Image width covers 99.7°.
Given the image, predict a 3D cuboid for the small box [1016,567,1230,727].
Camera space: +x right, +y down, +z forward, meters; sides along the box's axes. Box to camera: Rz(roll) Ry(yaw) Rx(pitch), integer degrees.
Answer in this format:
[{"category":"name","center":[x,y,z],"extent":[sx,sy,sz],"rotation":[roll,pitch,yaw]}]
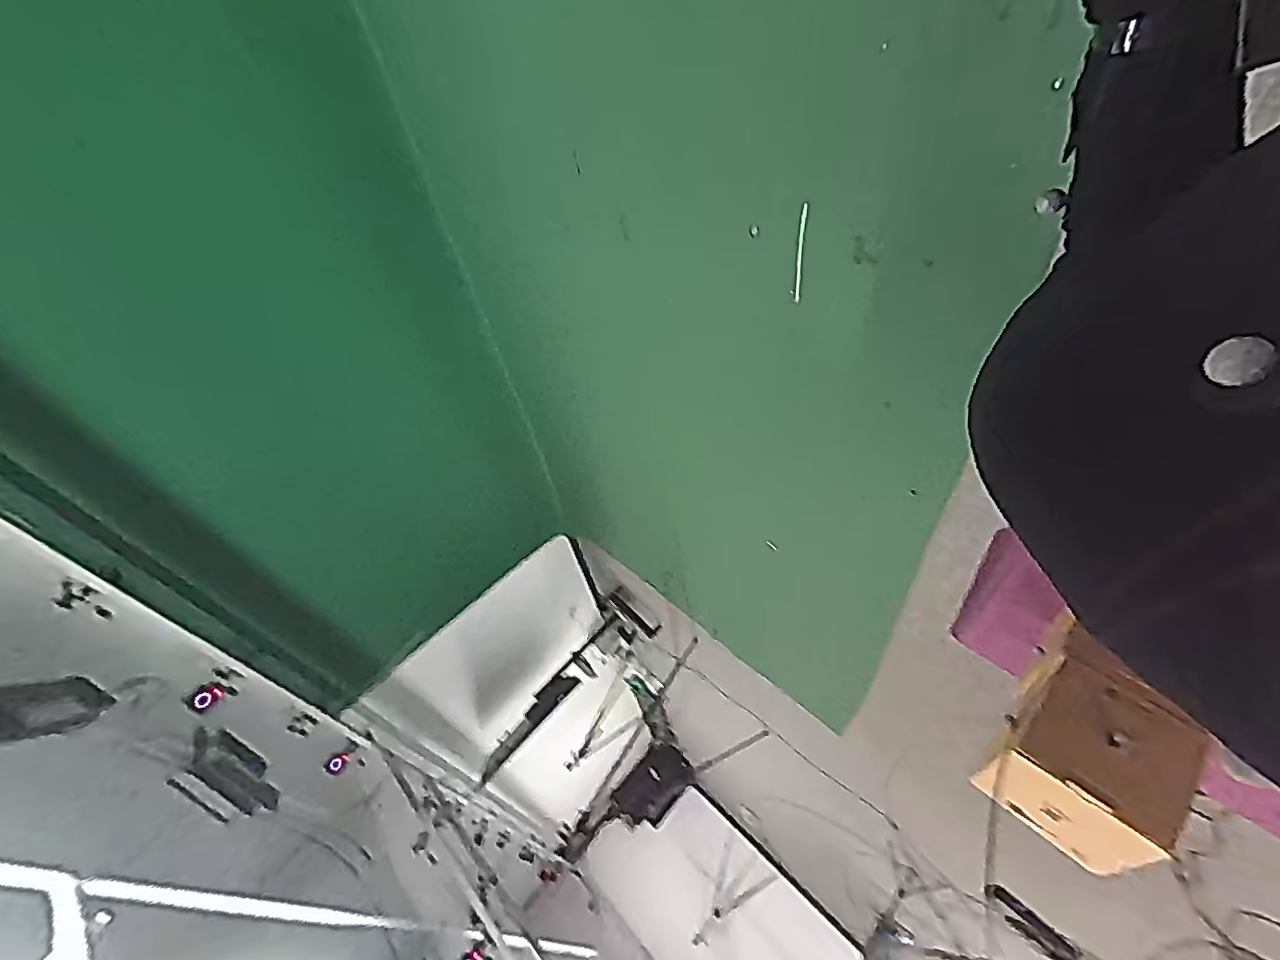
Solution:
[{"category":"small box","center":[0.707,0.262,0.798],"extent":[0.168,0.176,0.179],"rotation":[33,152,32]}]

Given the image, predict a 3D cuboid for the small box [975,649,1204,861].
[{"category":"small box","center":[0.598,0.363,0.728],"extent":[0.168,0.176,0.179],"rotation":[34,151,32]}]
